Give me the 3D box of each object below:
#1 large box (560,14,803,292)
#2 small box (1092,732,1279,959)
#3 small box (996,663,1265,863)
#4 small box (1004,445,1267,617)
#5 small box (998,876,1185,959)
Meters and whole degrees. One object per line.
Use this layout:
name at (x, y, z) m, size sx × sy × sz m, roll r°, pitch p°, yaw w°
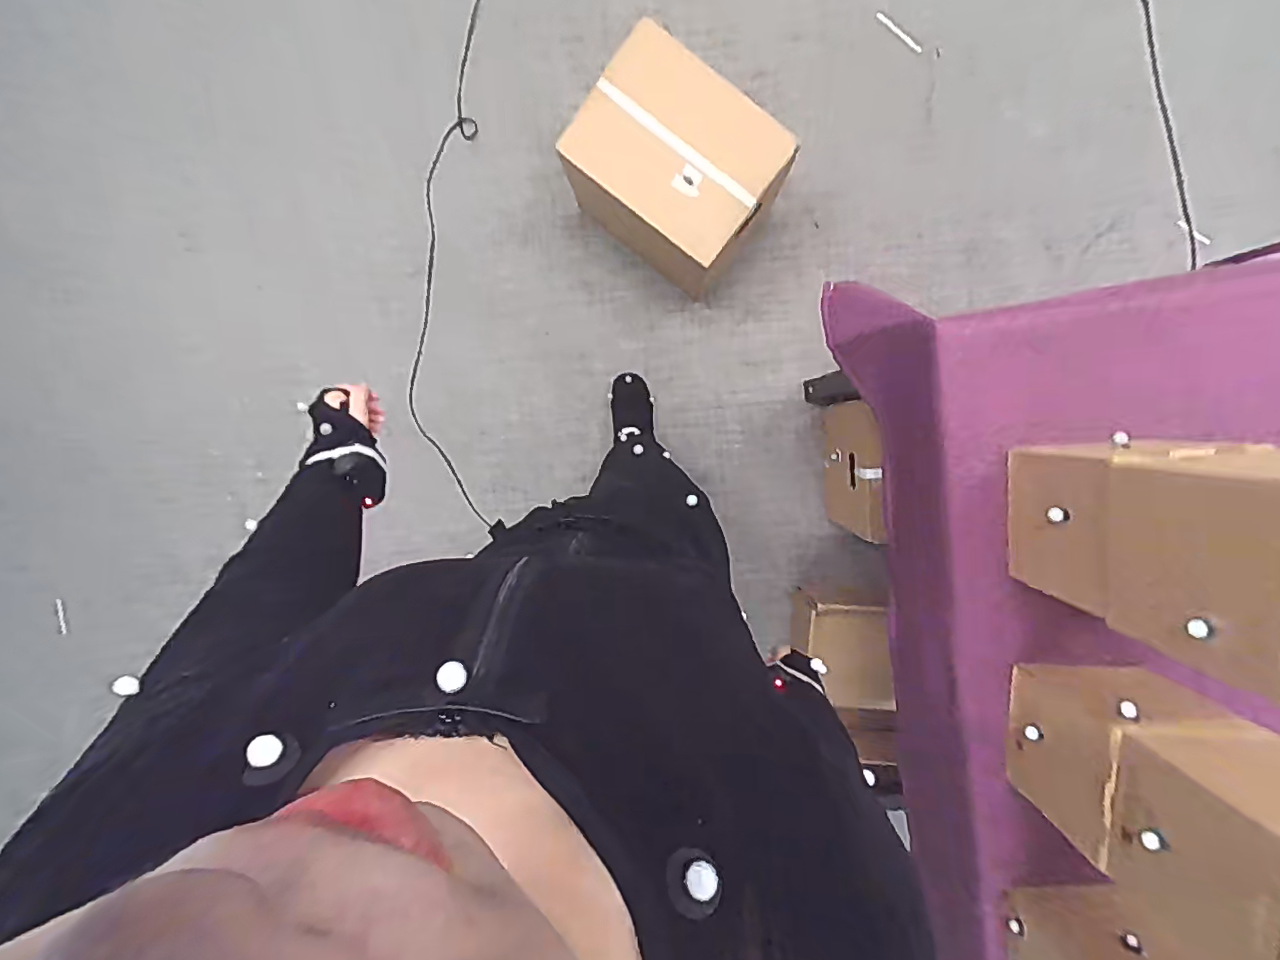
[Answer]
large box at (0.084, -0.705, 1.239) m, size 0.408 × 0.320 × 0.320 m, roll 38°, pitch 97°, yaw -3°
small box at (0.592, 0.363, 0.513) m, size 0.179 × 0.176 × 0.168 m, roll 3°, pitch 96°, yaw 3°
small box at (0.591, 0.343, 0.676) m, size 0.179 × 0.176 × 0.168 m, roll 1°, pitch 97°, yaw 3°
small box at (0.565, 0.049, 0.641) m, size 0.168 × 0.176 × 0.179 m, roll -3°, pitch 96°, yaw 3°
small box at (0.604, 0.662, 0.710) m, size 0.179 × 0.176 × 0.168 m, roll -4°, pitch 96°, yaw 2°
